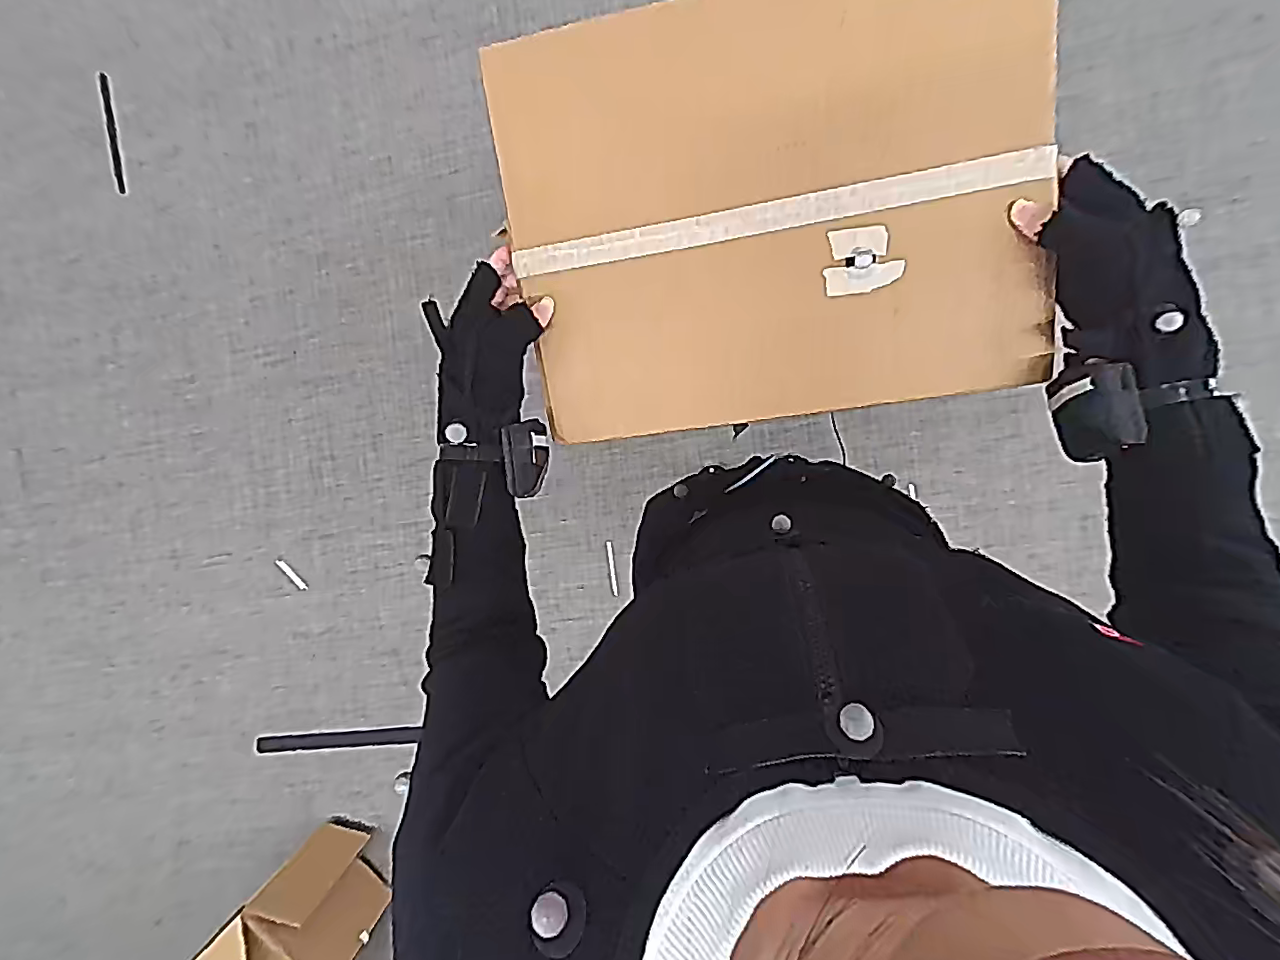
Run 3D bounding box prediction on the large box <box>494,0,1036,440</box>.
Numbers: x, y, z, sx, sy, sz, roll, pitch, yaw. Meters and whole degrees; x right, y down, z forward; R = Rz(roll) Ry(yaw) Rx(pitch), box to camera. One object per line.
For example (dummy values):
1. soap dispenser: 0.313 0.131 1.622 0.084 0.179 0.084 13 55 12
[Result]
1. large box: 0.116 -0.243 0.577 0.408 0.320 0.320 -7 104 9
